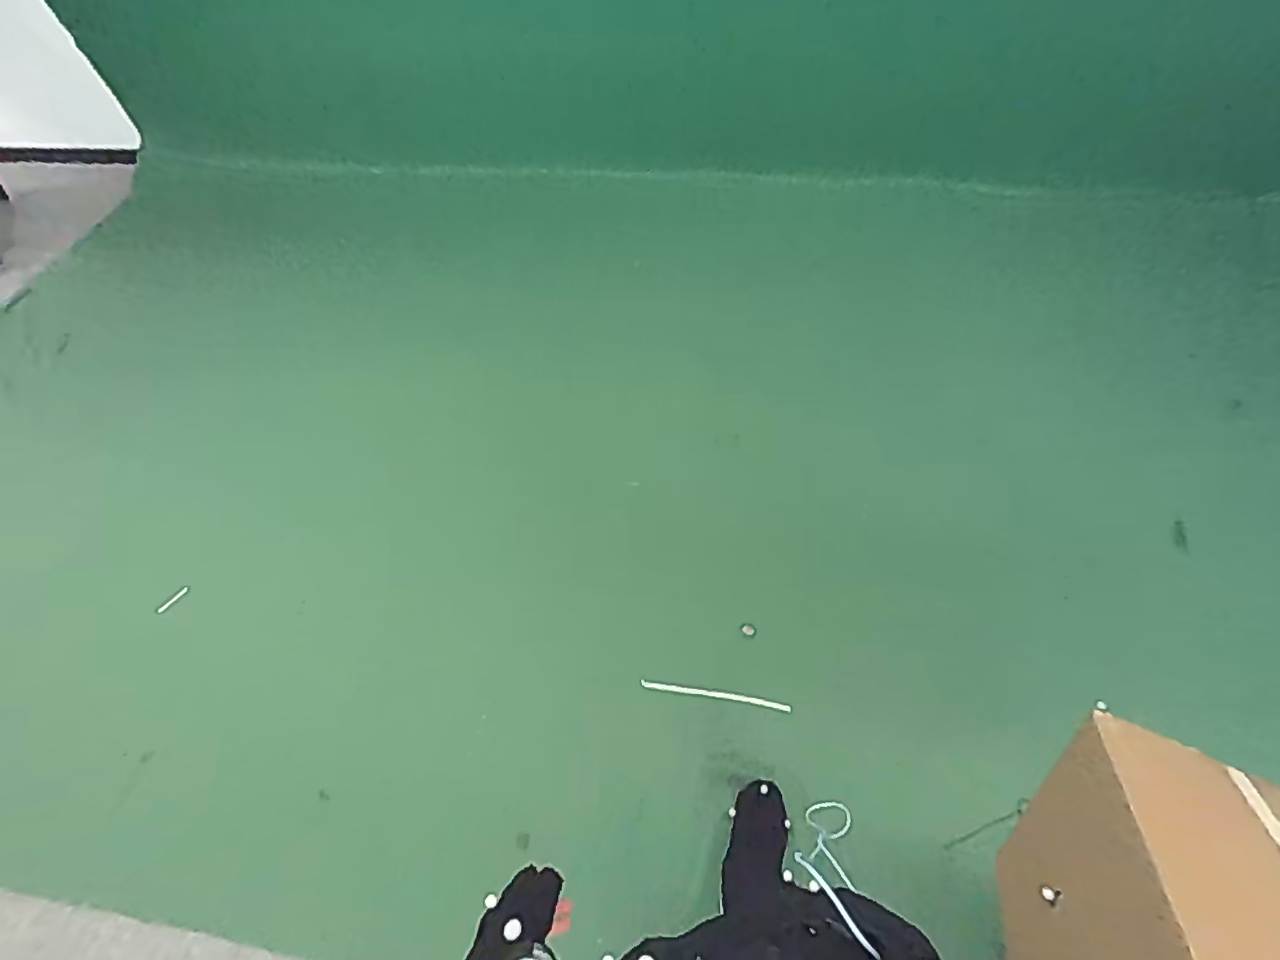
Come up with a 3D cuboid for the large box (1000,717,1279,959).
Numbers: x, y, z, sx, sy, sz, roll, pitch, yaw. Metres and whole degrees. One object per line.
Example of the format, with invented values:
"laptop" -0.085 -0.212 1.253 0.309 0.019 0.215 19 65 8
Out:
"large box" 0.651 0.570 0.602 0.320 0.320 0.408 24 21 23
